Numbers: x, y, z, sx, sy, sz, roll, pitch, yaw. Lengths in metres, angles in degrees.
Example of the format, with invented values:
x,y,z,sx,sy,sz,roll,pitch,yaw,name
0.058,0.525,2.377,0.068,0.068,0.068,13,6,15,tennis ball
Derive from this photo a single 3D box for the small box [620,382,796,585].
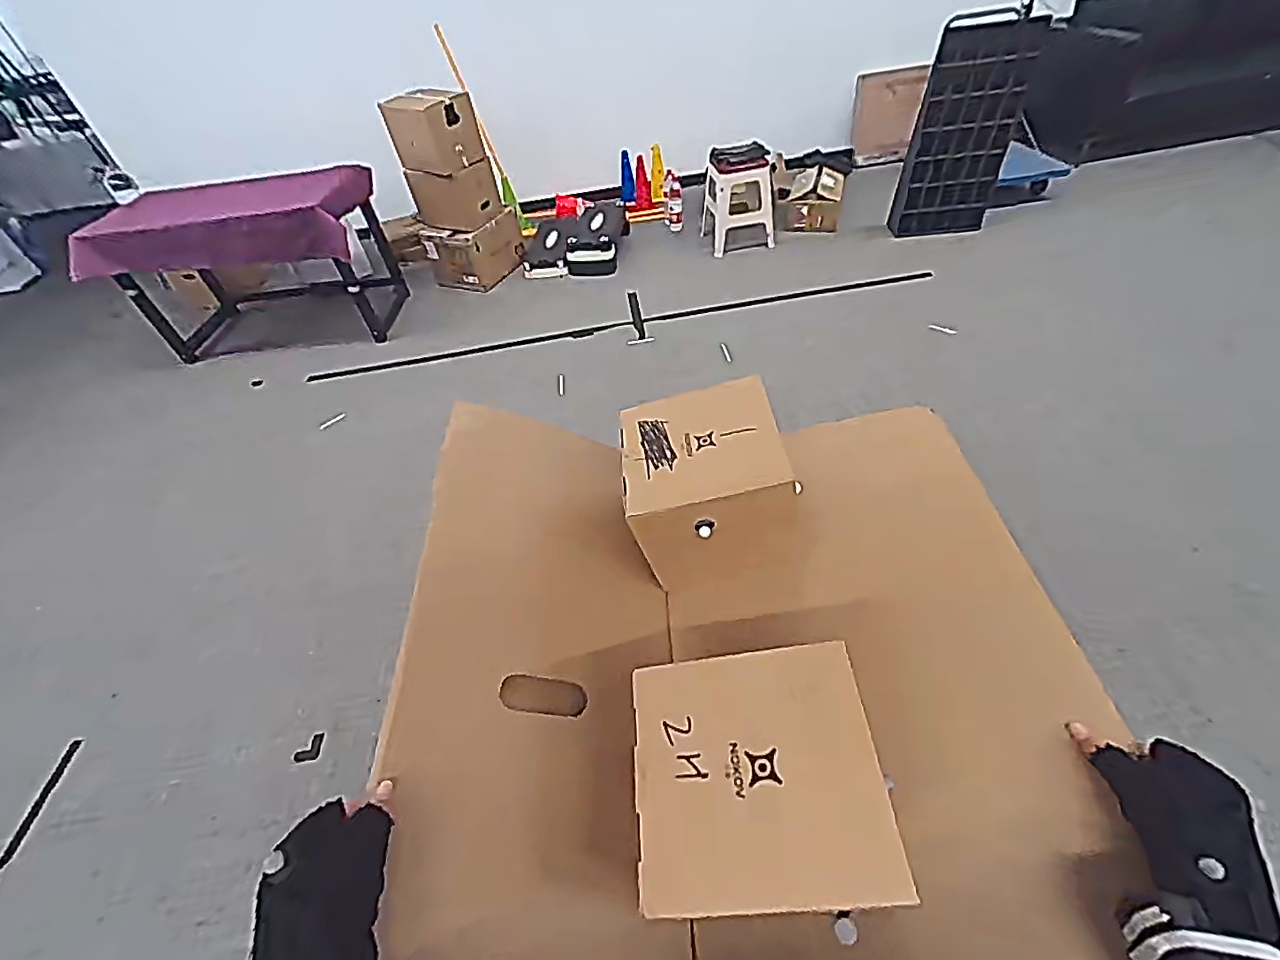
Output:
x,y,z,sx,sy,sz,roll,pitch,yaw,name
0.084,0.012,0.669,0.179,0.176,0.168,-13,49,9,small box

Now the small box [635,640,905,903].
x,y,z,sx,sy,sz,roll,pitch,yaw,name
0.102,0.255,0.463,0.179,0.176,0.168,-12,49,12,small box
